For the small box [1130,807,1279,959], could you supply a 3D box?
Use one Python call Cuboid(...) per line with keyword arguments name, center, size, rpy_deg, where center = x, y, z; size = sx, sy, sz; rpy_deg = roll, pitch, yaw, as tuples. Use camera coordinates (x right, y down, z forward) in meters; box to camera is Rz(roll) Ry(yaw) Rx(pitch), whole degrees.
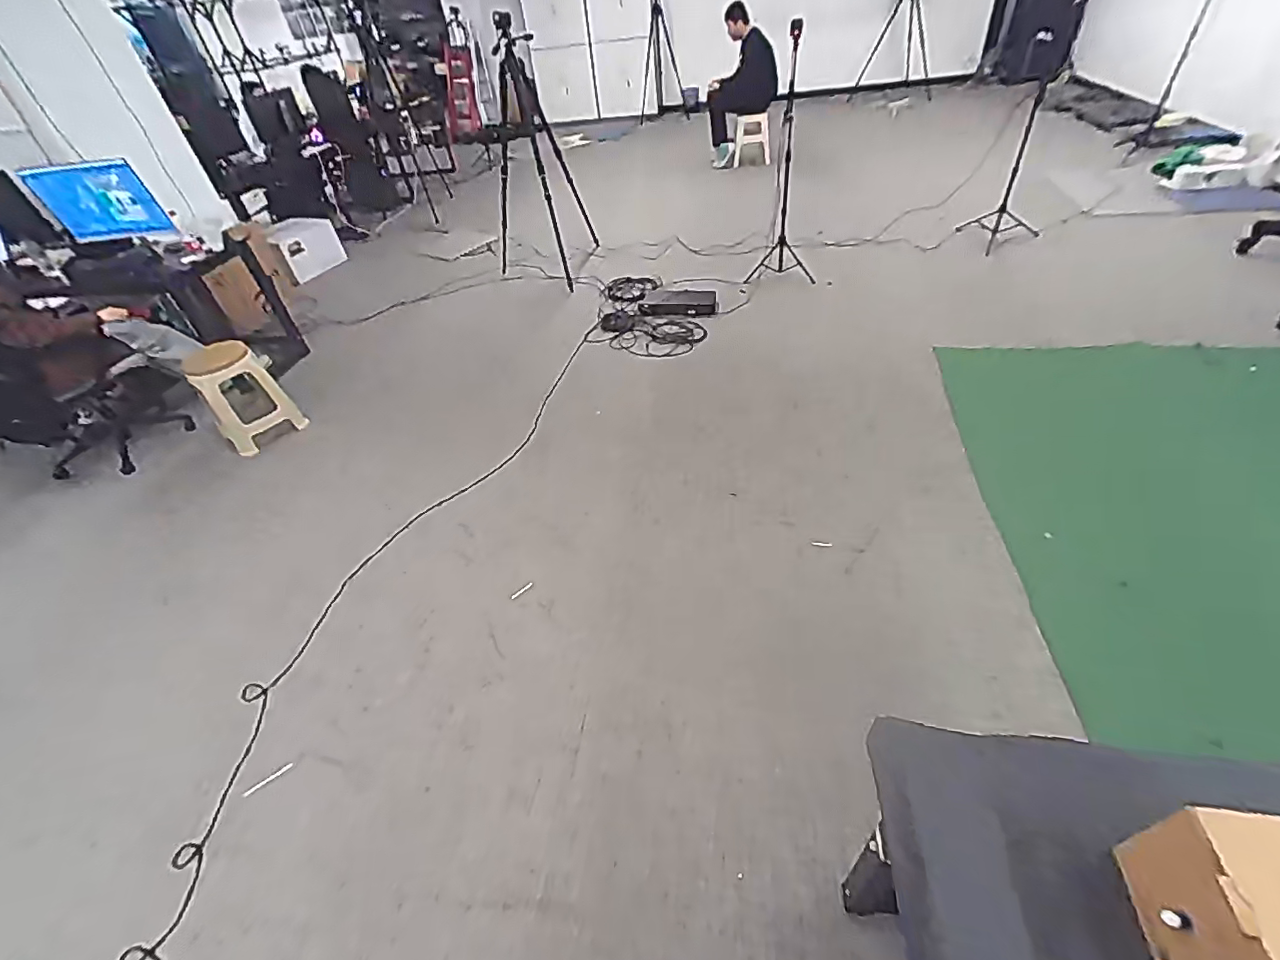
Cuboid(name="small box", center=(0.638, 0.450, 0.531), size=(0.179, 0.176, 0.168), rpy_deg=(2, 44, 12))
